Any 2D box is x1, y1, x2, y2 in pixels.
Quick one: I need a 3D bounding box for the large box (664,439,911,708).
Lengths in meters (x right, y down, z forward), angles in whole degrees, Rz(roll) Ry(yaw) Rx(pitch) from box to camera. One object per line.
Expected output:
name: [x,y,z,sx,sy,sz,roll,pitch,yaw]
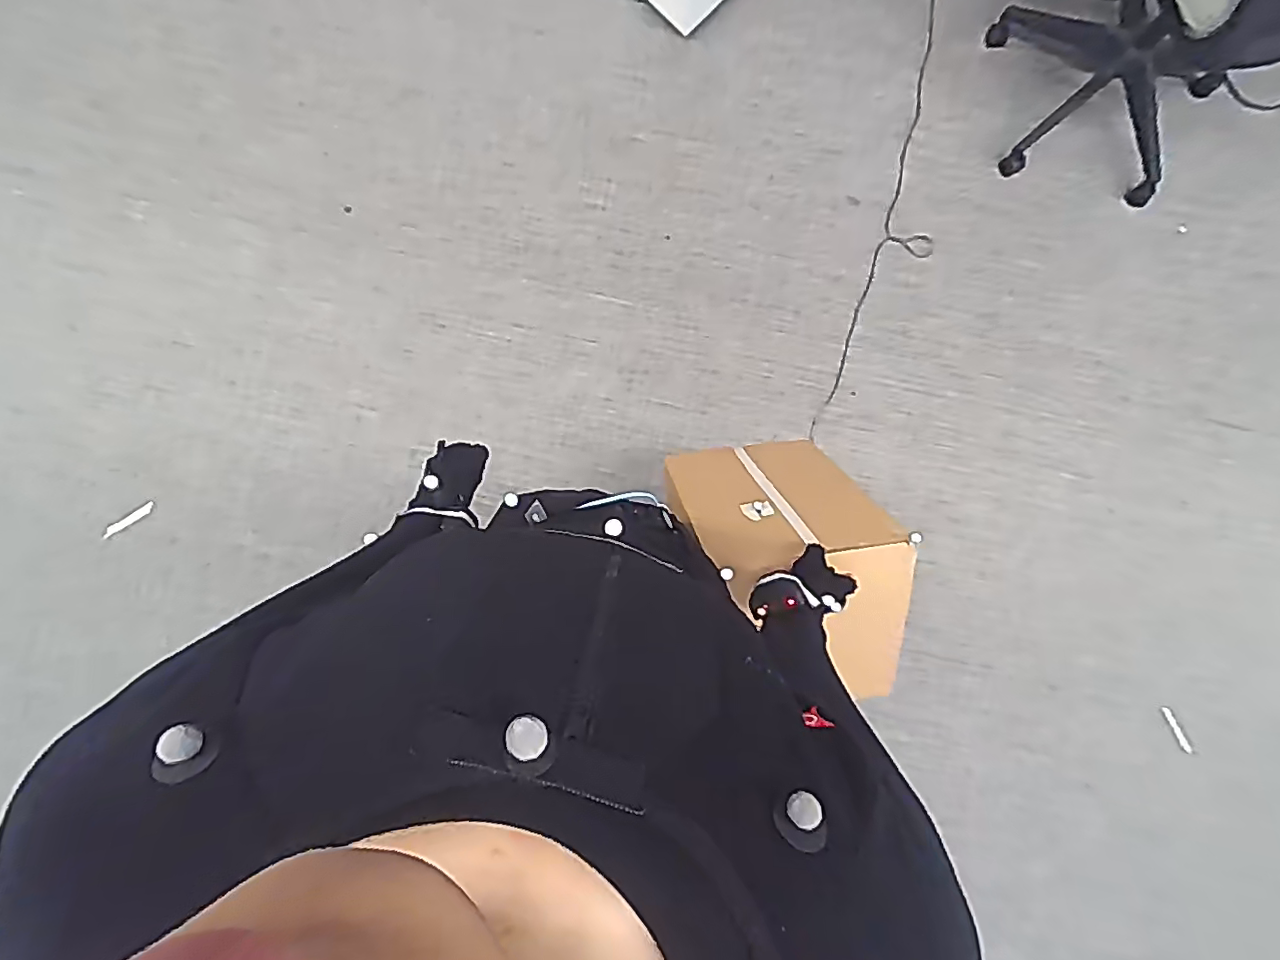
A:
large box: [0.237,0.152,1.033,0.320,0.408,0.320,-8,118,-4]
